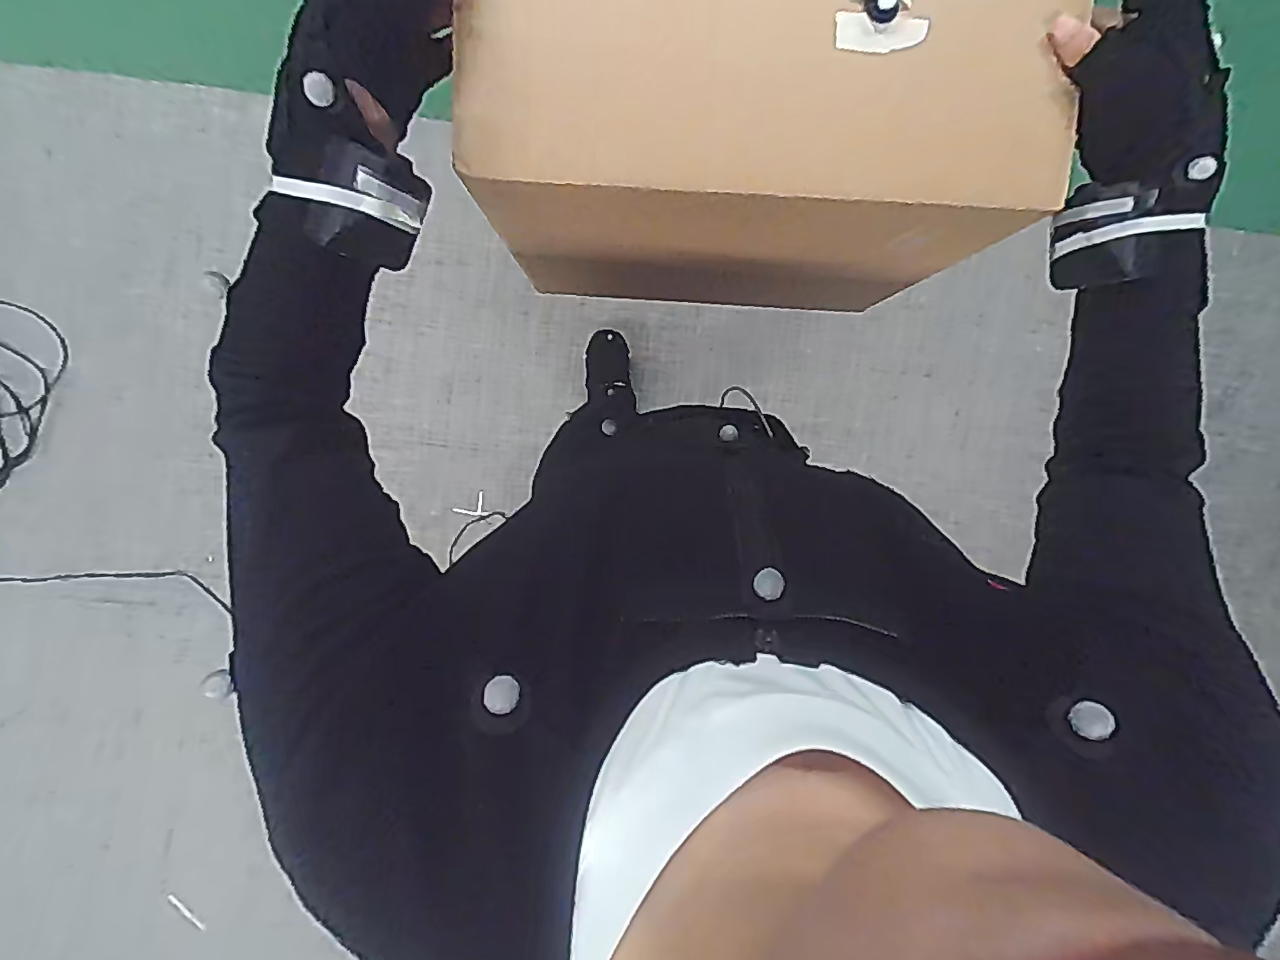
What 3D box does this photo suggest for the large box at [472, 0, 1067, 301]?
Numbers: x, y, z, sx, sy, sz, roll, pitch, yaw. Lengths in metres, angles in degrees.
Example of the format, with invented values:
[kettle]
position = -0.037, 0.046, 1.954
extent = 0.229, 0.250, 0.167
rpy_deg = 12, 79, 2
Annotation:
[large box]
position = 0.084, -0.364, 0.505
extent = 0.408, 0.320, 0.320
rpy_deg = 2, 96, -1
